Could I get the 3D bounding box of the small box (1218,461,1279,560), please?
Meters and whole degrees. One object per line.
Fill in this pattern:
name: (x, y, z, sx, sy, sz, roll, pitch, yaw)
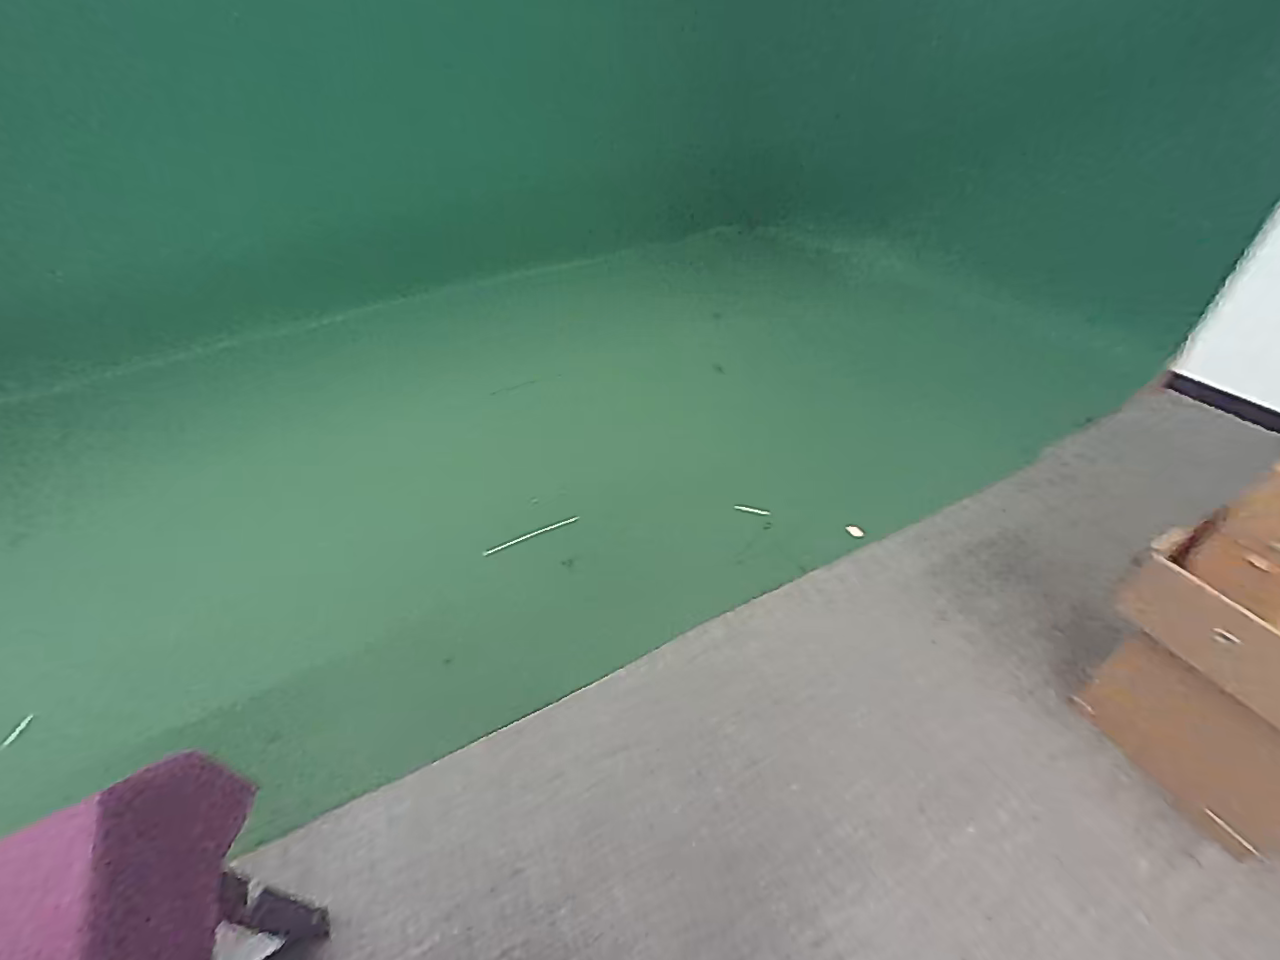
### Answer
small box: (1.249, 0.053, 0.987, 0.168, 0.176, 0.179, -21, 45, -17)
